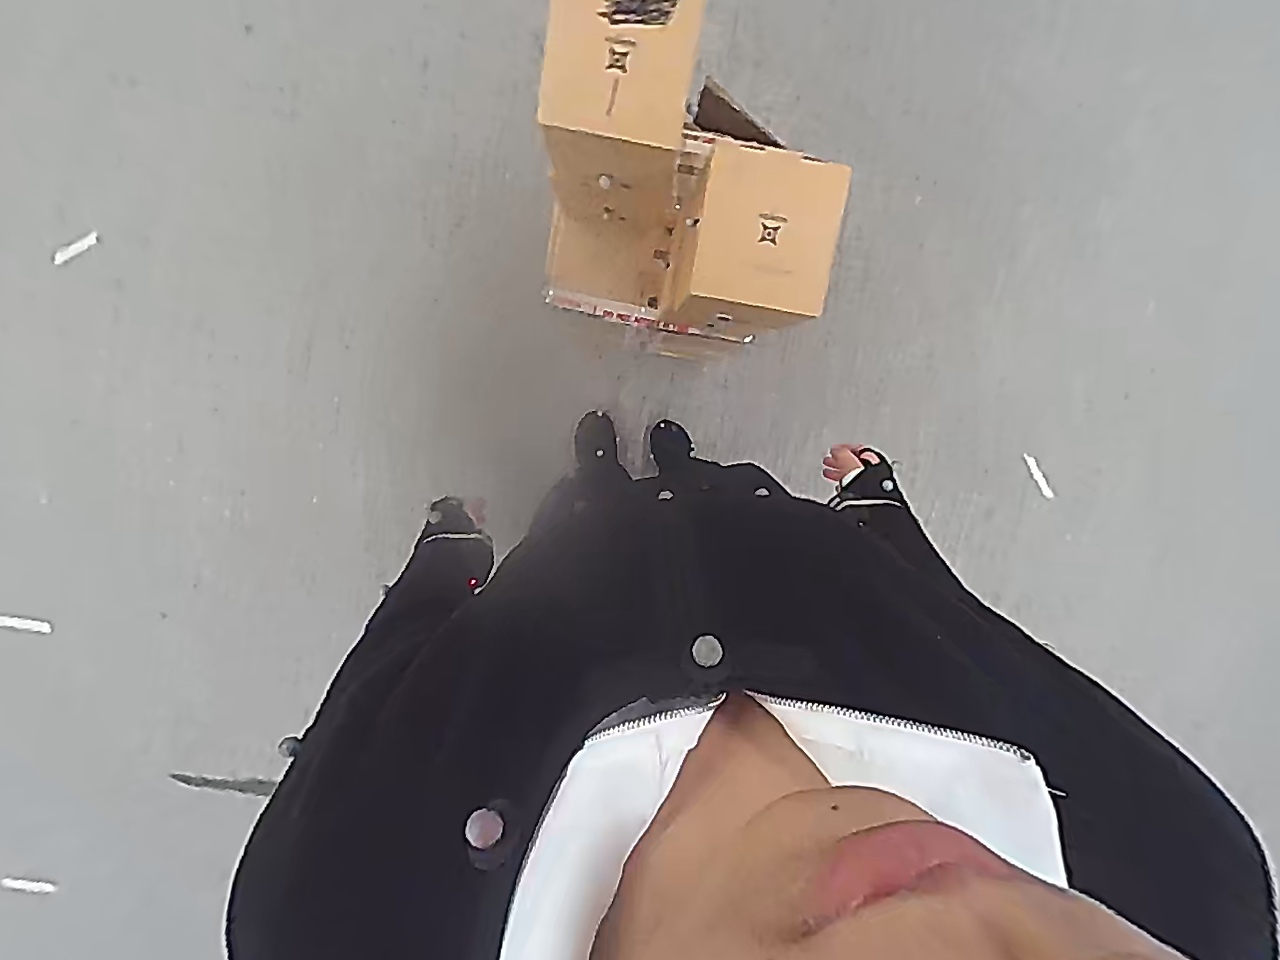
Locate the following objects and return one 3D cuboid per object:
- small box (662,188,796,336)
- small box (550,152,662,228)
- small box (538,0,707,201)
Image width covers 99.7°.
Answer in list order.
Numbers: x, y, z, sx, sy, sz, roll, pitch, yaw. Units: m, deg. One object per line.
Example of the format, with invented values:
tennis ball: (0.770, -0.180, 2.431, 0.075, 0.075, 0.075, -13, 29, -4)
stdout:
small box: (0.131, -0.336, 0.873, 0.168, 0.176, 0.179, 9, 99, -5)
small box: (-0.039, -0.514, 0.837, 0.168, 0.176, 0.179, 6, 100, -1)
small box: (-0.022, -0.480, 0.676, 0.168, 0.176, 0.179, 10, 100, -2)
